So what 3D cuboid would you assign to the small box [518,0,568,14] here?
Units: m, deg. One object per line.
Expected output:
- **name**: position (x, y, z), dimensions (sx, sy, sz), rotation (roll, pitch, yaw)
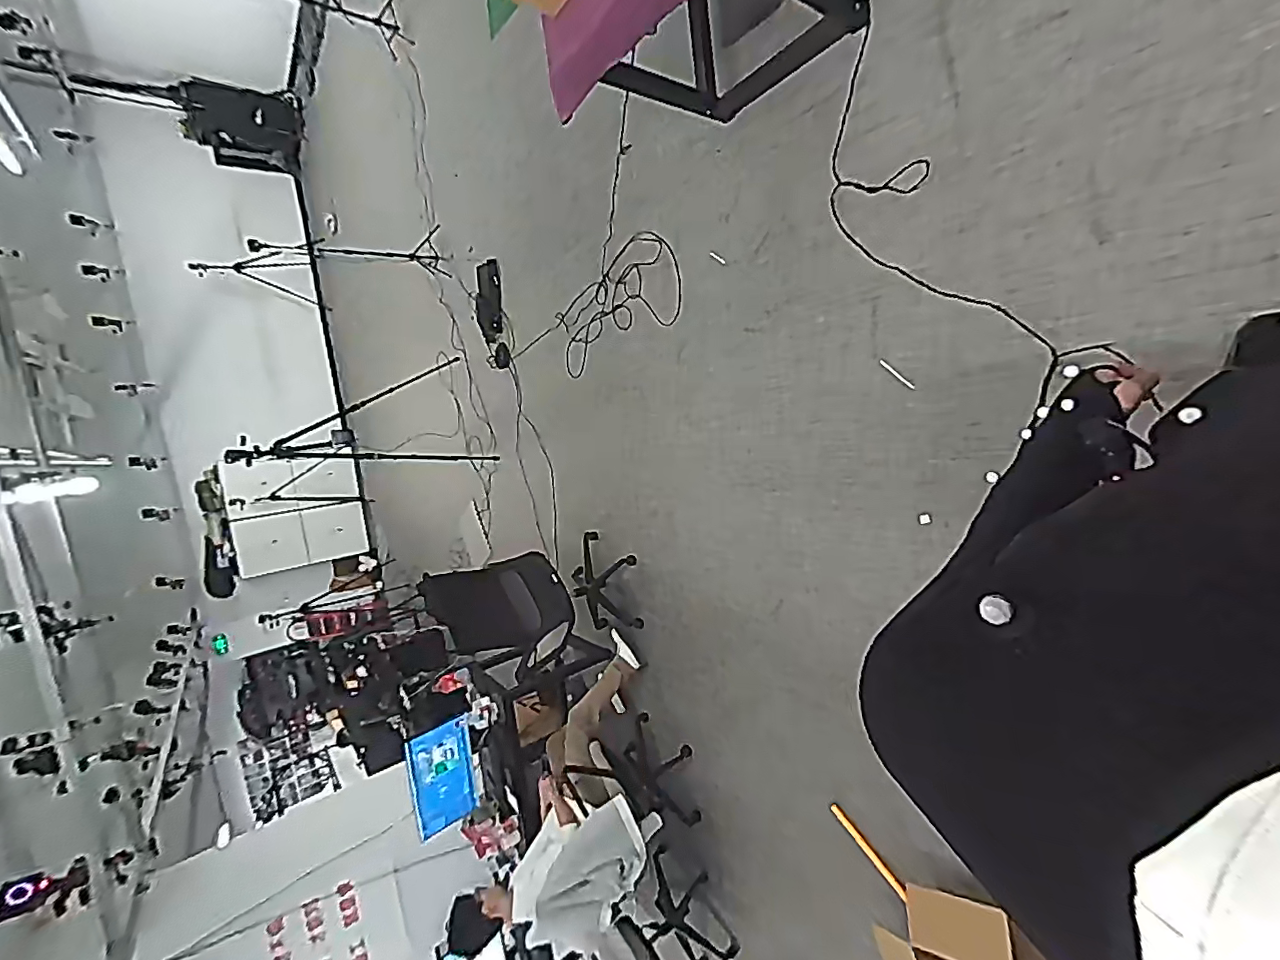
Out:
- **small box**: position (-0.253, -1.372, 1.399), dimensions (0.179, 0.176, 0.168), rotation (5, 103, 52)
